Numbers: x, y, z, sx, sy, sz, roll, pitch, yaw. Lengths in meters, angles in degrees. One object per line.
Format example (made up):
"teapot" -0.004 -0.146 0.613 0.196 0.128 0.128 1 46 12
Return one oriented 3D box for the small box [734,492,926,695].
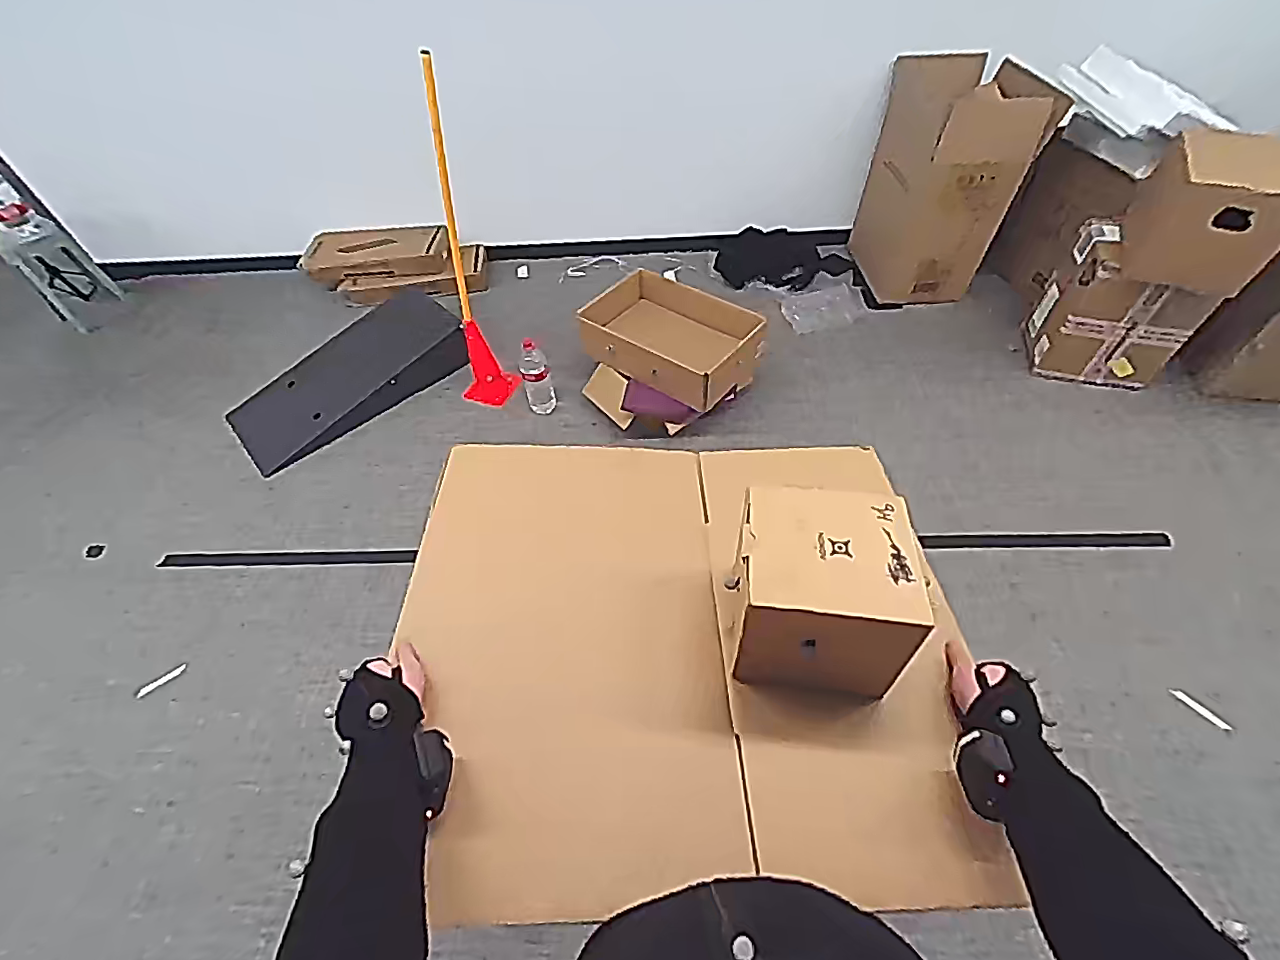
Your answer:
"small box" 0.204 0.134 0.635 0.179 0.176 0.168 4 47 8
